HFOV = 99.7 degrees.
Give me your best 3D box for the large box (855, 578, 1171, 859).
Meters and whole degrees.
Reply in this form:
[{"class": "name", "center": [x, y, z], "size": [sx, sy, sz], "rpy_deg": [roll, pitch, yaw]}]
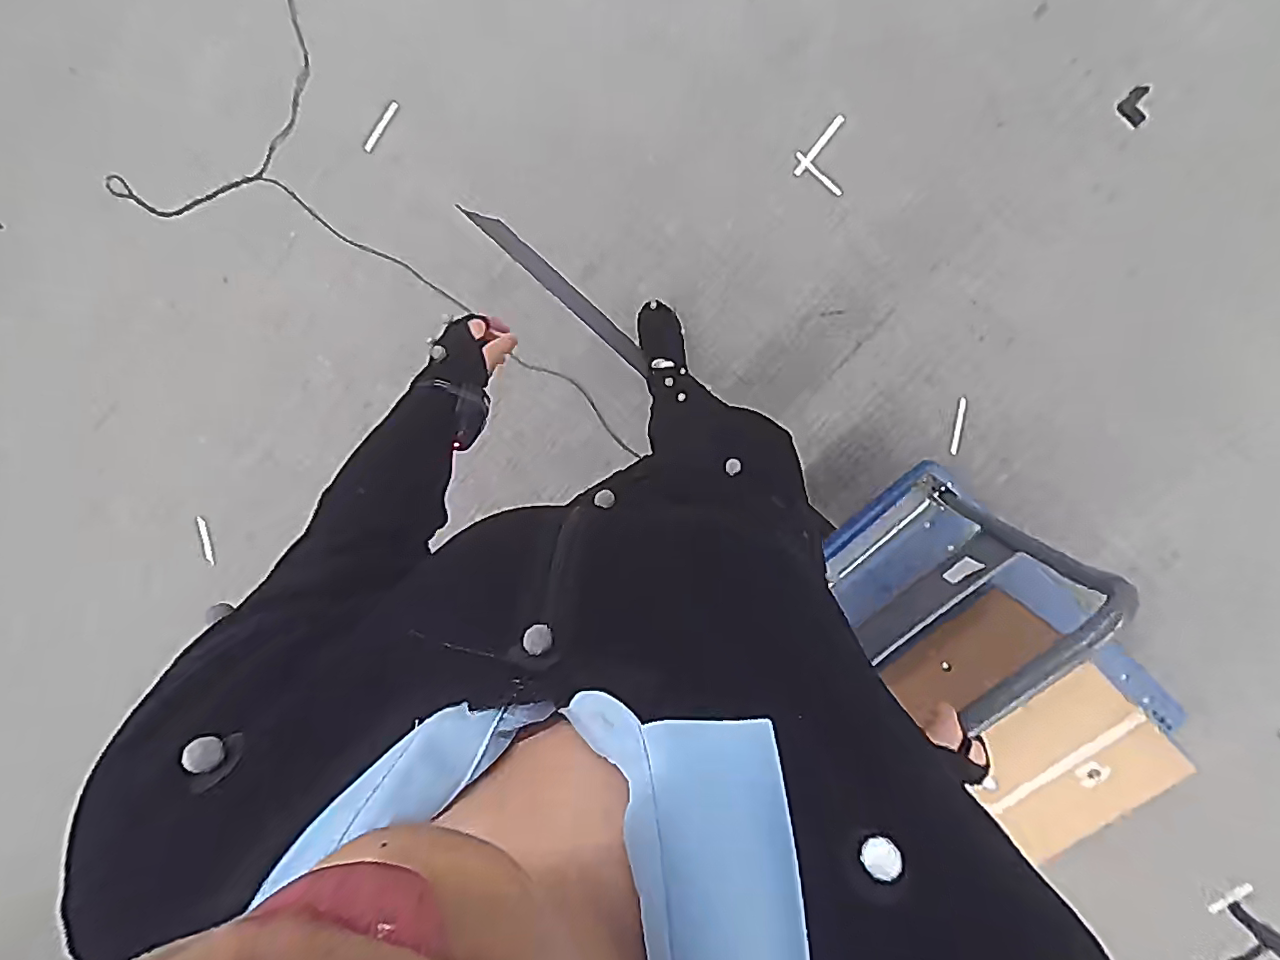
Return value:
[{"class": "large box", "center": [0.760, 0.495, 1.180], "size": [0.320, 0.320, 0.408], "rpy_deg": [45, 102, -4]}]
